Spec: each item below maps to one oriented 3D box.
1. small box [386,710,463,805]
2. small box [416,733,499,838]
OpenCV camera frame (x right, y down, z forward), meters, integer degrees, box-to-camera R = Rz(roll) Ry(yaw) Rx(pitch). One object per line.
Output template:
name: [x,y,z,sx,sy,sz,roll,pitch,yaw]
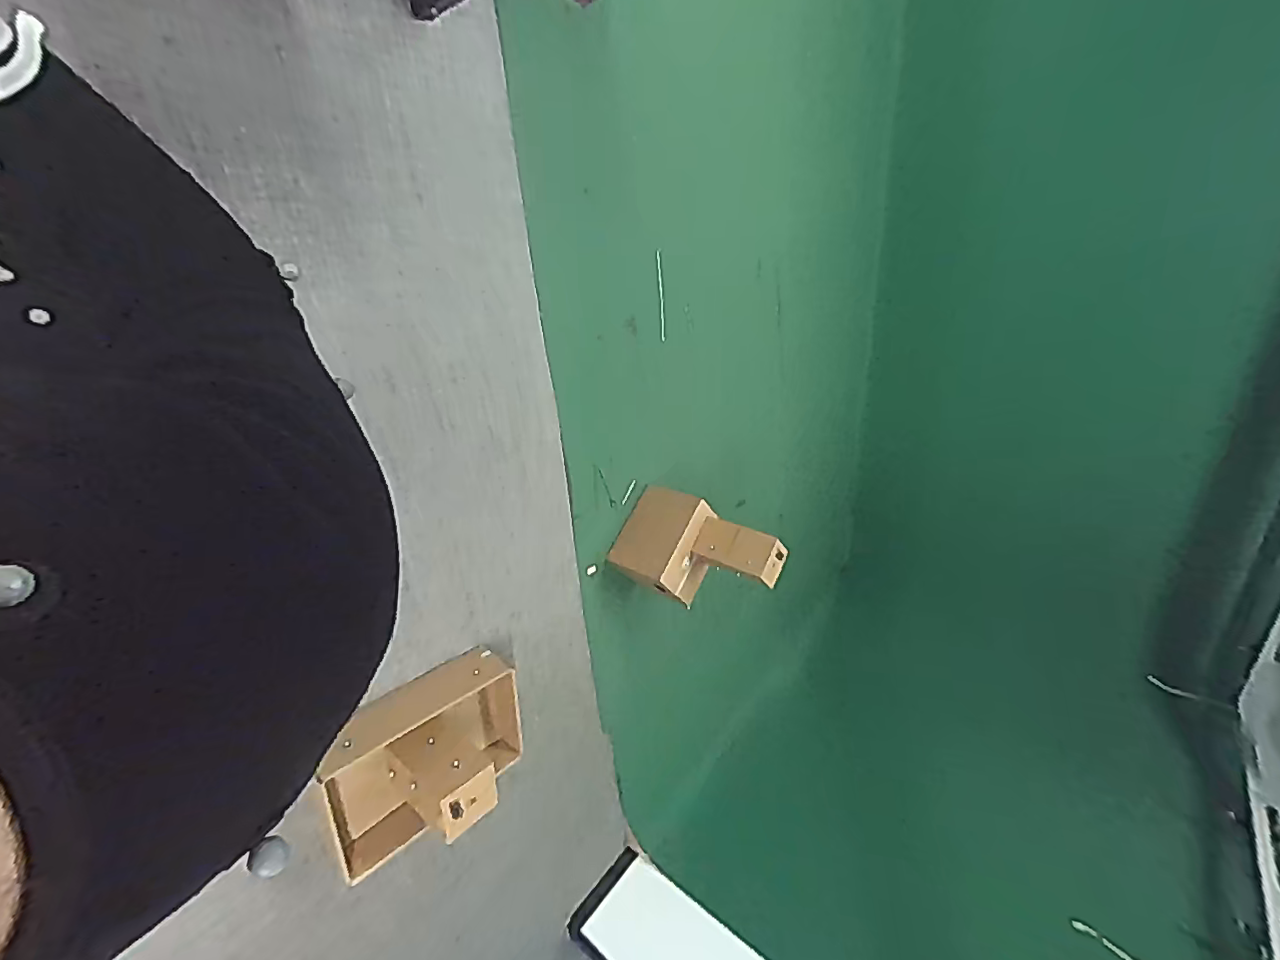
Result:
small box: [-0.673,0.869,1.713,0.179,0.176,0.168,-22,118,-45]
small box: [-0.547,0.901,1.611,0.179,0.176,0.168,-22,118,-47]
